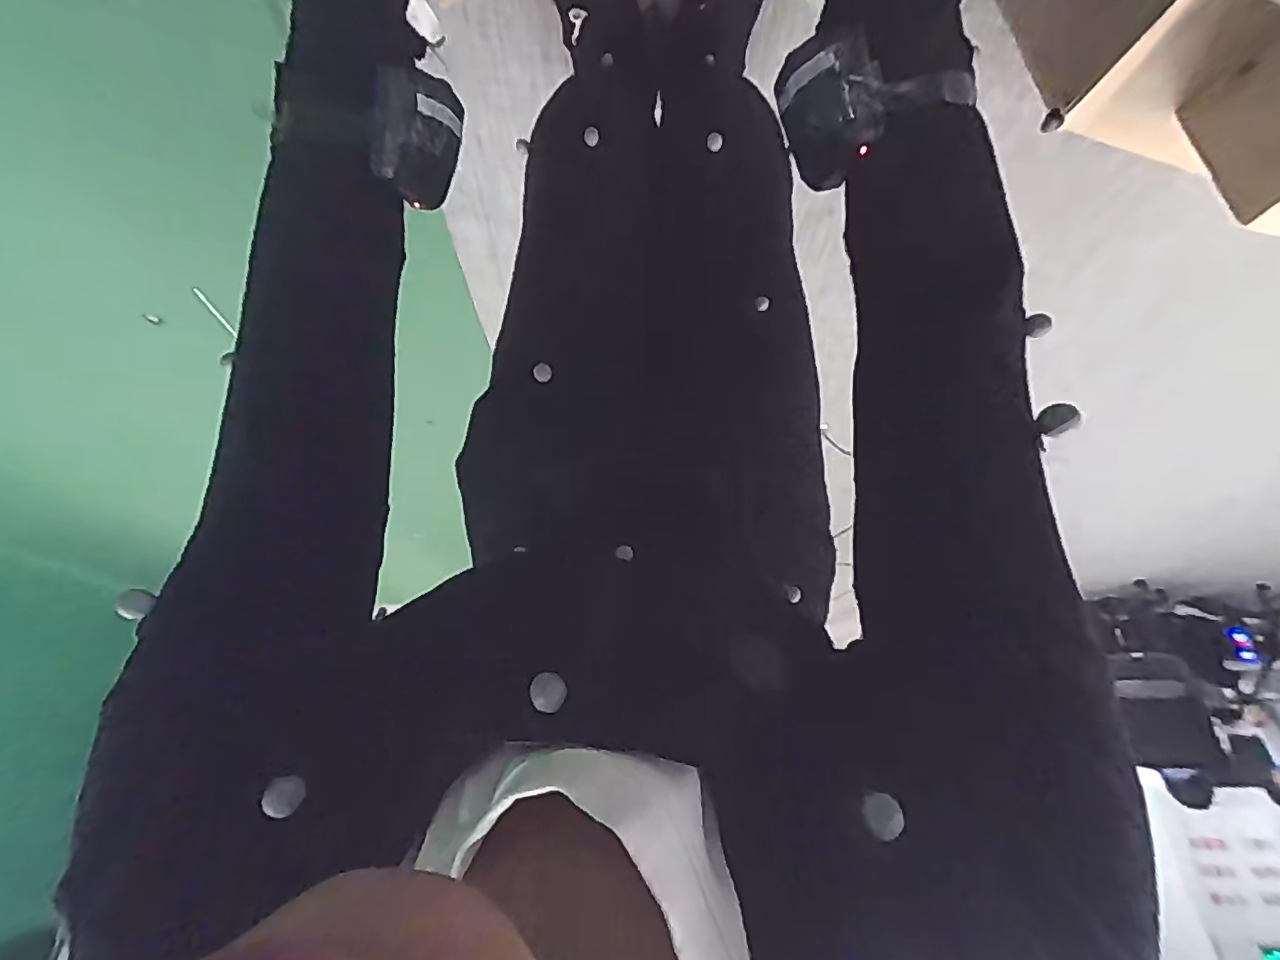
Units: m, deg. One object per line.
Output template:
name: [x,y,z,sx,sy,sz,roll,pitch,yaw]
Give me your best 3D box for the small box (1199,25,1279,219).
small box: [0.675,-0.349,0.480,0.179,0.176,0.168,5,157,-7]
